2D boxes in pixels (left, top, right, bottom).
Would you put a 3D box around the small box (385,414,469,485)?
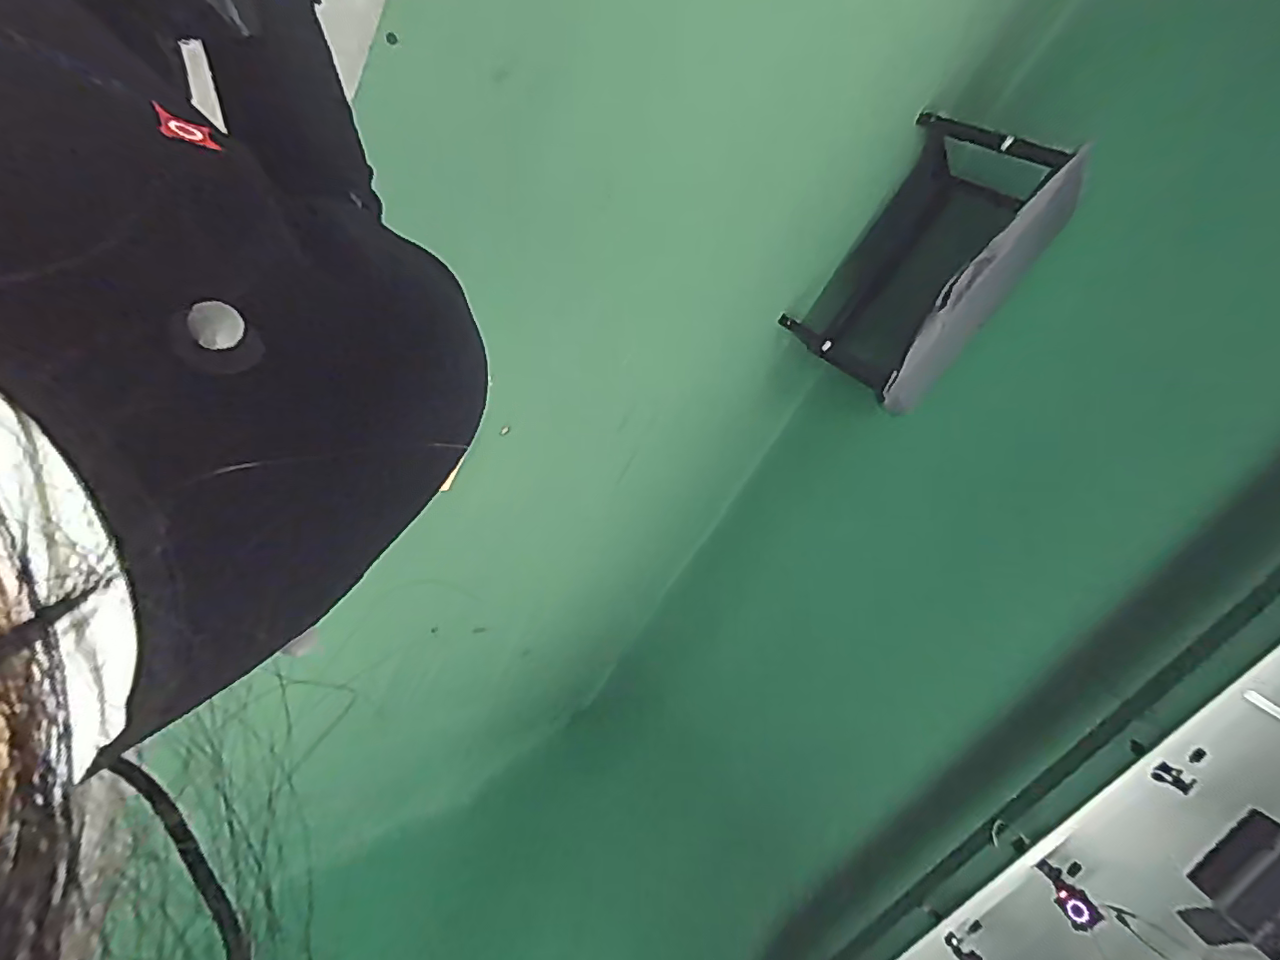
[{"bbox_3d":[-0.708,-0.102,1.784,0.179,0.176,0.168,5,123,-56],"label":"small box"}]
